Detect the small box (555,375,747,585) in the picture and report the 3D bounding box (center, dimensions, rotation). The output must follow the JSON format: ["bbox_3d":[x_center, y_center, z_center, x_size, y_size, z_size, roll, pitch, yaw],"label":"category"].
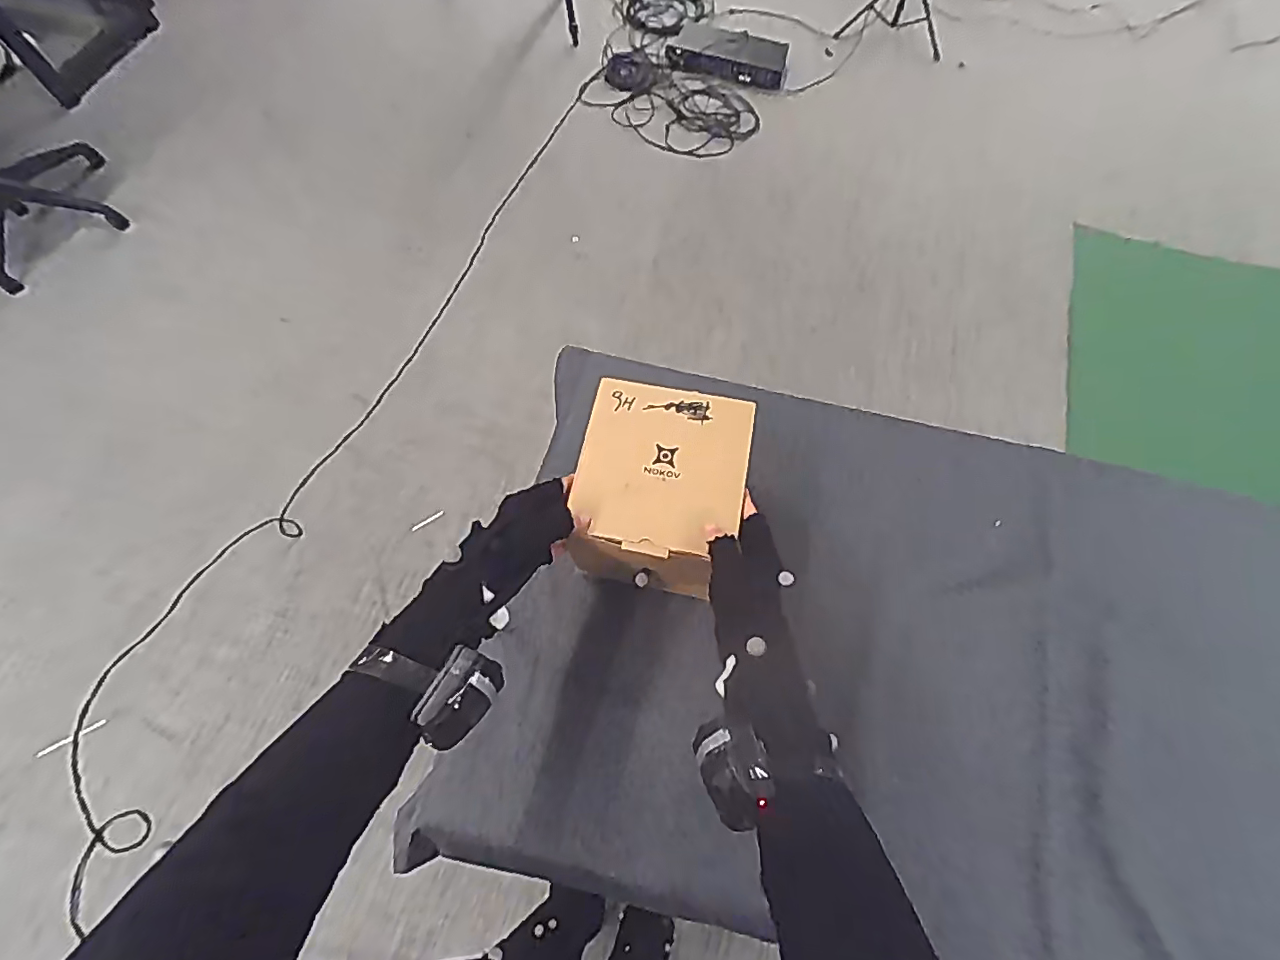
[{"bbox_3d":[0.017,0.010,0.613,0.168,0.176,0.179,10,69,5],"label":"small box"}]
